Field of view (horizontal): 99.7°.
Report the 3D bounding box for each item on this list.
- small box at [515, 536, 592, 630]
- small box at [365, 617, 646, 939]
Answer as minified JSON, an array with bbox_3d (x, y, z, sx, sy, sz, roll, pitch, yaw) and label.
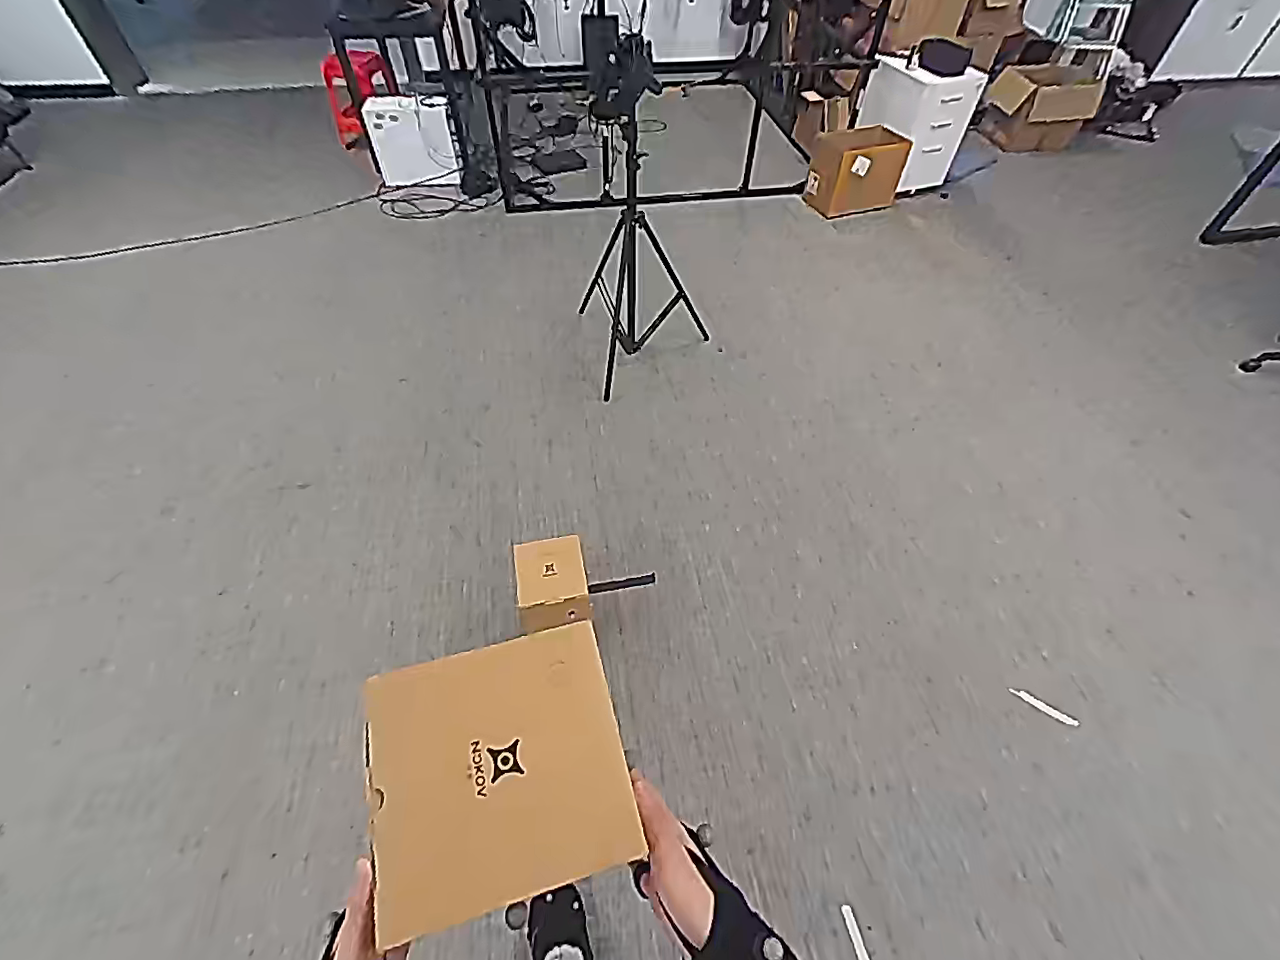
[{"bbox_3d":[-0.216,0.270,1.371,0.168,0.176,0.179,-9,51,-9],"label":"small box"},{"bbox_3d":[-0.106,0.233,0.453,0.179,0.176,0.168,-13,63,-11],"label":"small box"}]
